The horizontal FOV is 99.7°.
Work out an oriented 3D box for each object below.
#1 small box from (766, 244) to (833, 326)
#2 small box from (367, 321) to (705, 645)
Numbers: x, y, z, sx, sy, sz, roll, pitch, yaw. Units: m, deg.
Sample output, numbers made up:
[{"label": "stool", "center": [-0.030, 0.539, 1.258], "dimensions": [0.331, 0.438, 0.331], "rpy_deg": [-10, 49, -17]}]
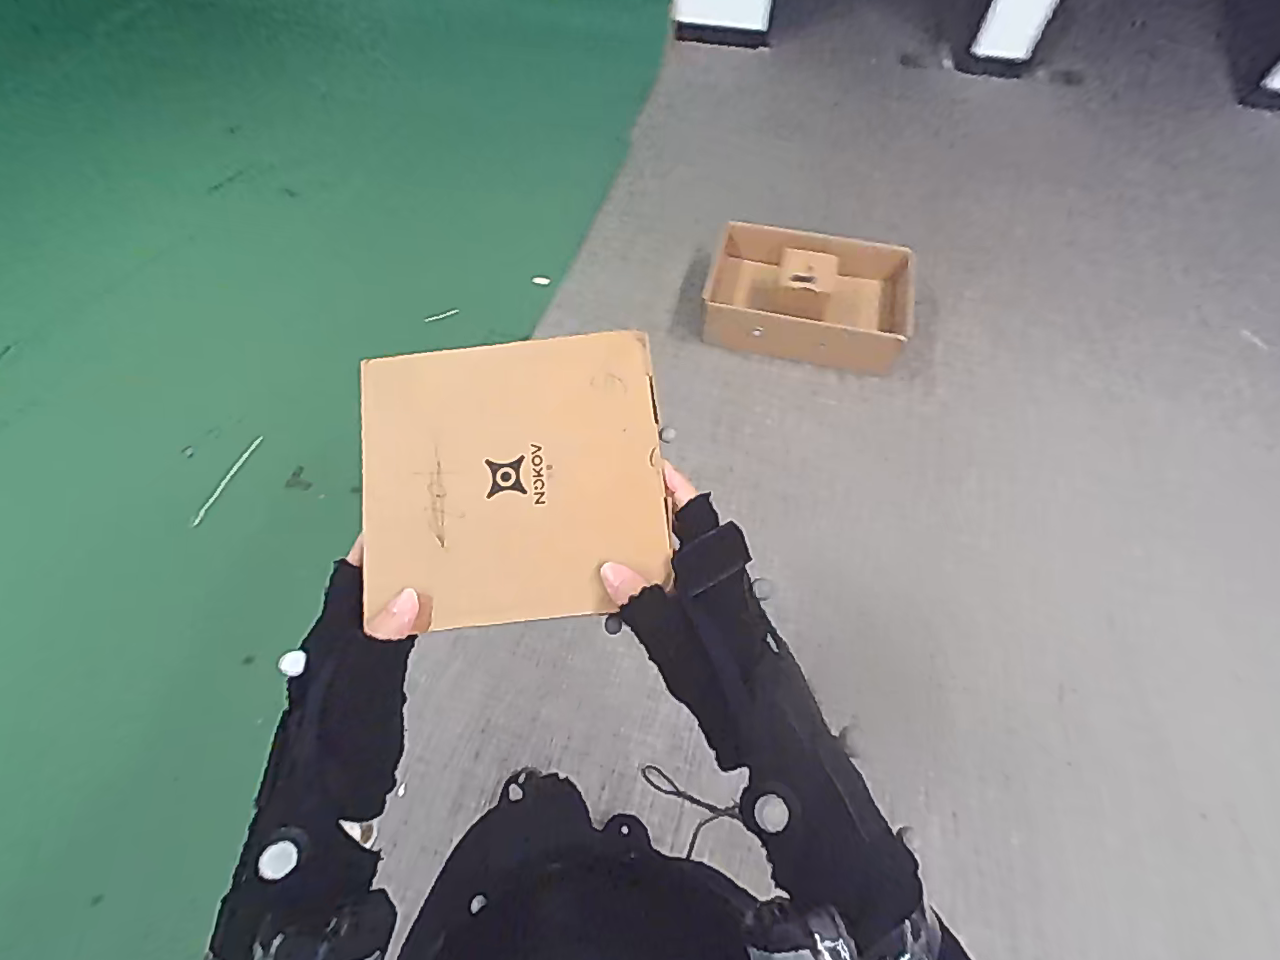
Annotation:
[{"label": "small box", "center": [0.510, -0.624, 1.743], "dimensions": [0.168, 0.176, 0.179], "rpy_deg": [12, 62, 7]}, {"label": "small box", "center": [-0.062, 0.011, 0.383], "dimensions": [0.179, 0.176, 0.168], "rpy_deg": [-10, 79, -1]}]
